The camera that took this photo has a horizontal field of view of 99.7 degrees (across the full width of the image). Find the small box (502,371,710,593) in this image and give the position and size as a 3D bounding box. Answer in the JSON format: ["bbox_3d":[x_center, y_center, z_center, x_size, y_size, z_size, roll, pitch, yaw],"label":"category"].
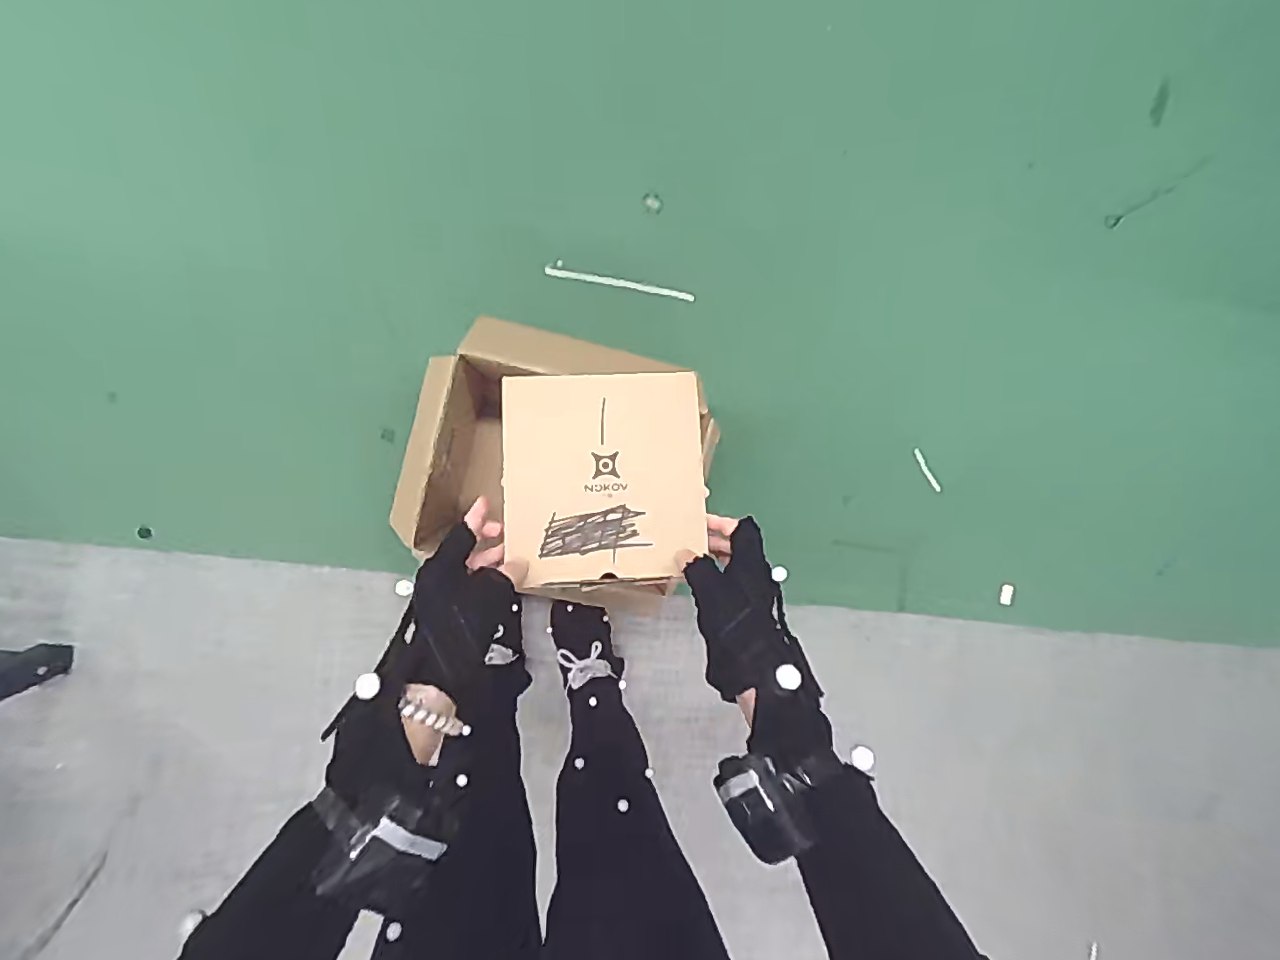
[{"bbox_3d":[-0.032,0.010,0.512,0.168,0.176,0.179,-3,80,-4],"label":"small box"}]
